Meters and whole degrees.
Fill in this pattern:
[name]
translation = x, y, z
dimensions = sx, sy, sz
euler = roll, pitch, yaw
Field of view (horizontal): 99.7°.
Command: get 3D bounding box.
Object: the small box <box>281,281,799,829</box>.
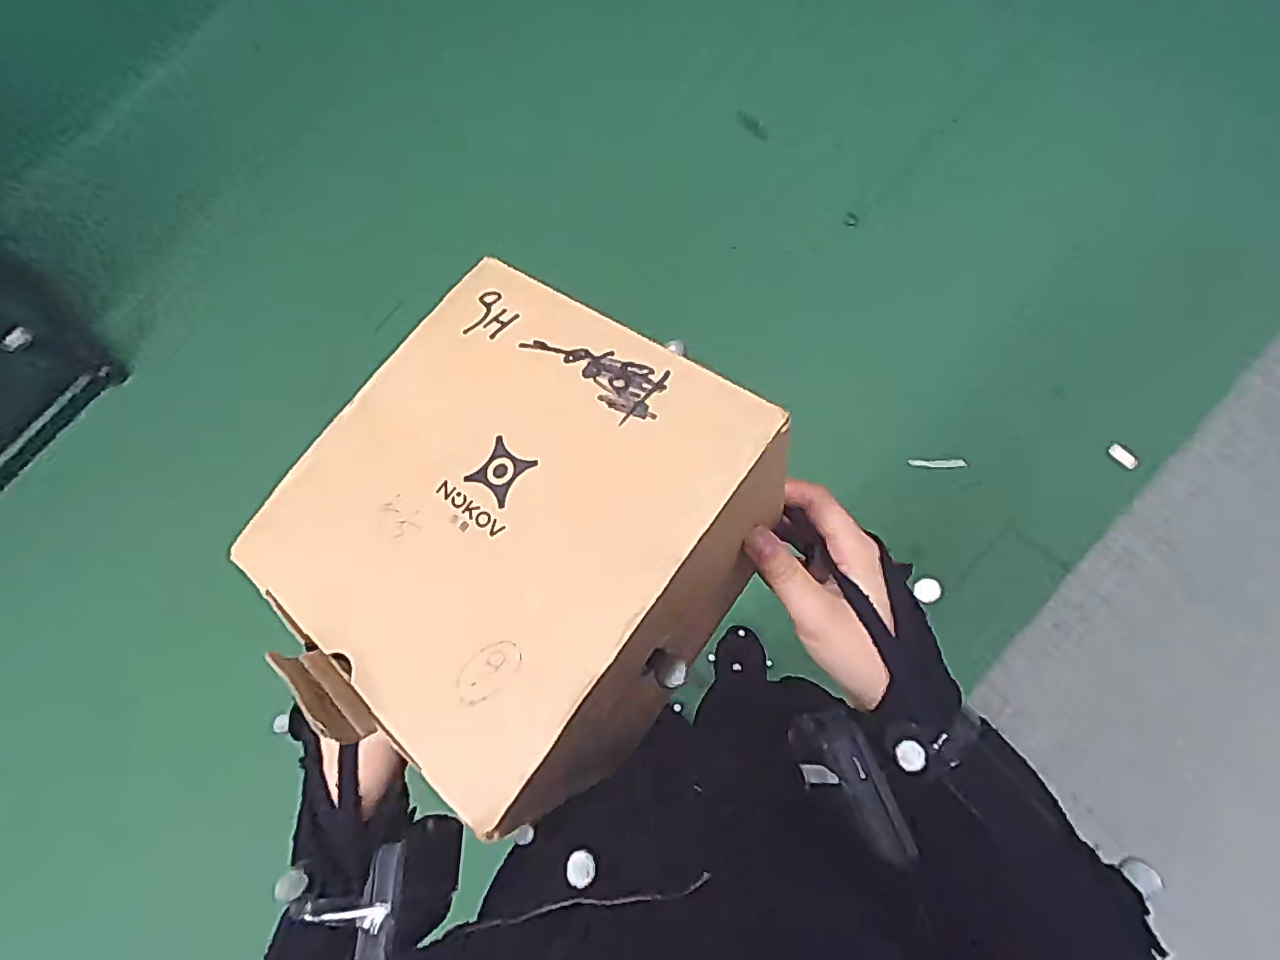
[small box]
translation = -0.031, 0.038, 0.296
dimensions = 0.168, 0.176, 0.179
euler = 34, 81, 22
